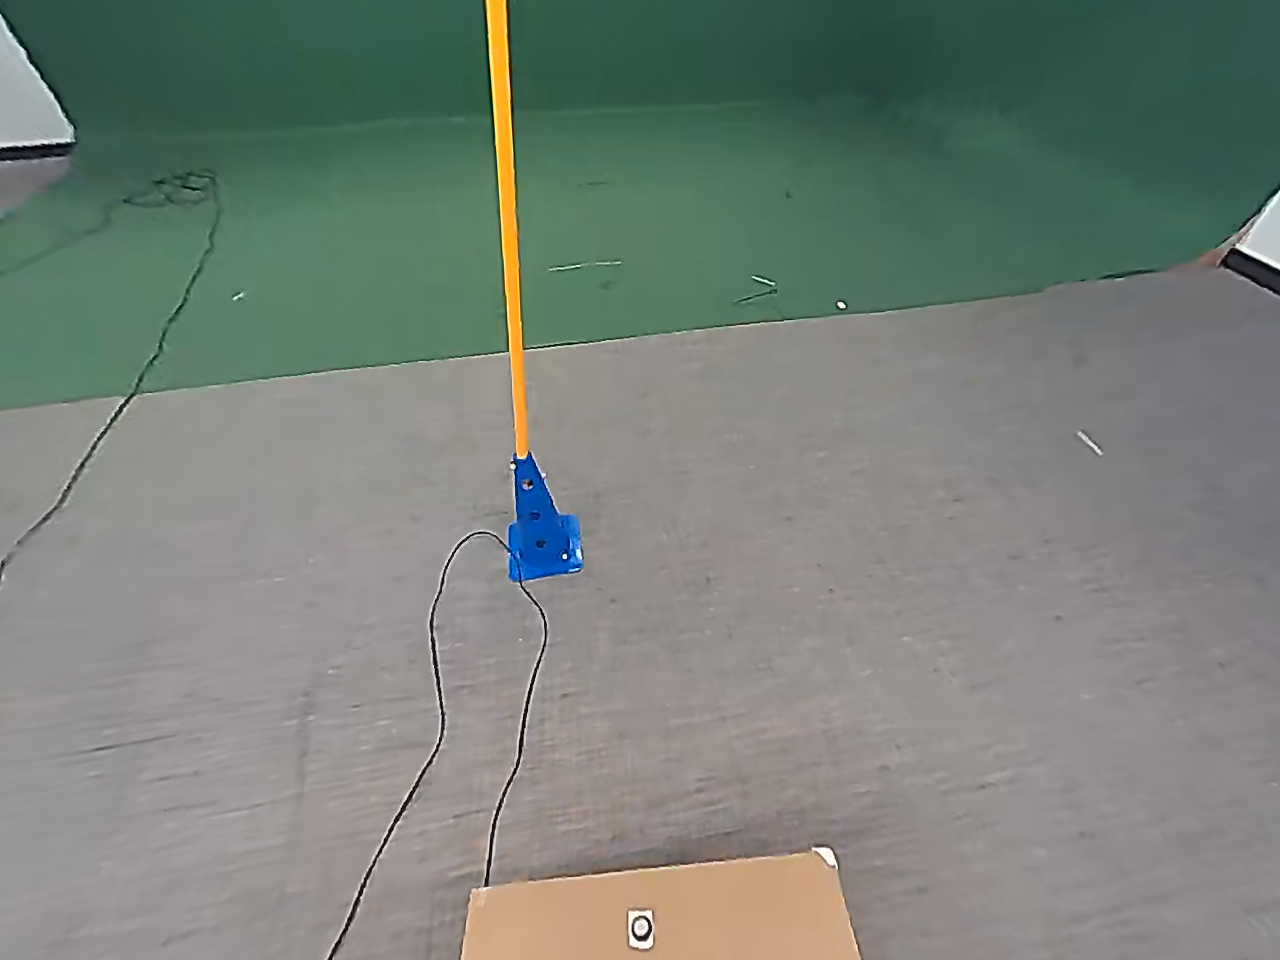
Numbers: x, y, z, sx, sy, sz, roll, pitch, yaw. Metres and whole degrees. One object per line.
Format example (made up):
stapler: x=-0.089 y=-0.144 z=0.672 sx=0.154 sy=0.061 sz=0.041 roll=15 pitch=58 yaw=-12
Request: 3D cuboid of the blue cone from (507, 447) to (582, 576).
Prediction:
blue cone: x=-0.261 y=0.057 z=1.352 sx=0.193 sy=0.380 sz=0.192 roll=-9 pitch=48 yaw=-9
